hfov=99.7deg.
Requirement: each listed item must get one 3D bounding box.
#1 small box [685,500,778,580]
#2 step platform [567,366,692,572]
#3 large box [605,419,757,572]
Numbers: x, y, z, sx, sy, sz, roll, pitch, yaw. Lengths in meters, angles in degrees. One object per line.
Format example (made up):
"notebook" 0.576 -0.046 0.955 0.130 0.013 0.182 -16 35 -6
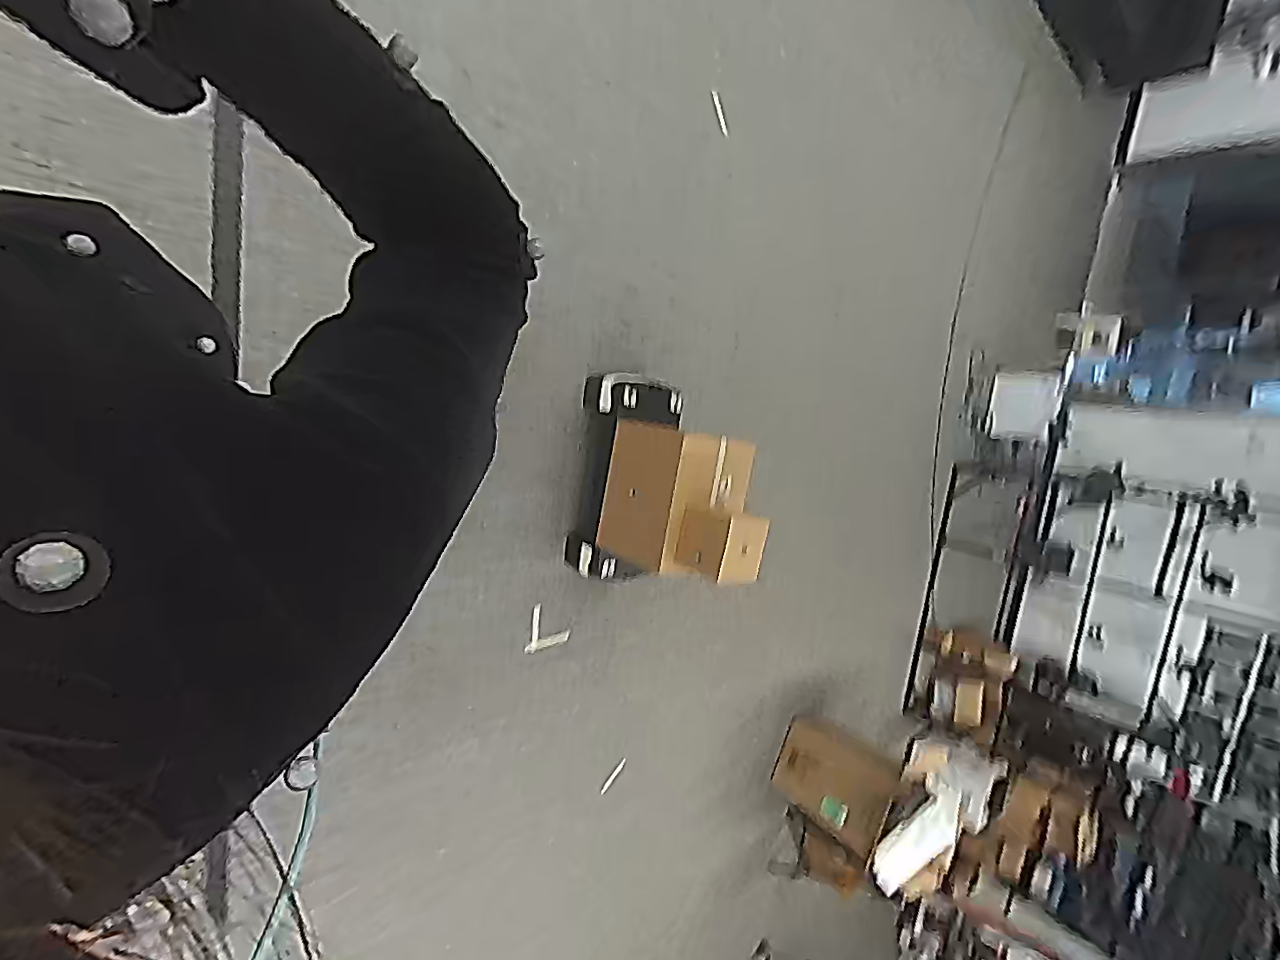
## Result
"small box" 0.244 0.162 1.475 0.168 0.176 0.179 8 95 -40
"step platform" -0.032 -0.032 1.838 0.286 0.204 0.684 6 96 -41
"large box" 0.118 0.039 1.665 0.320 0.320 0.408 4 97 -41
